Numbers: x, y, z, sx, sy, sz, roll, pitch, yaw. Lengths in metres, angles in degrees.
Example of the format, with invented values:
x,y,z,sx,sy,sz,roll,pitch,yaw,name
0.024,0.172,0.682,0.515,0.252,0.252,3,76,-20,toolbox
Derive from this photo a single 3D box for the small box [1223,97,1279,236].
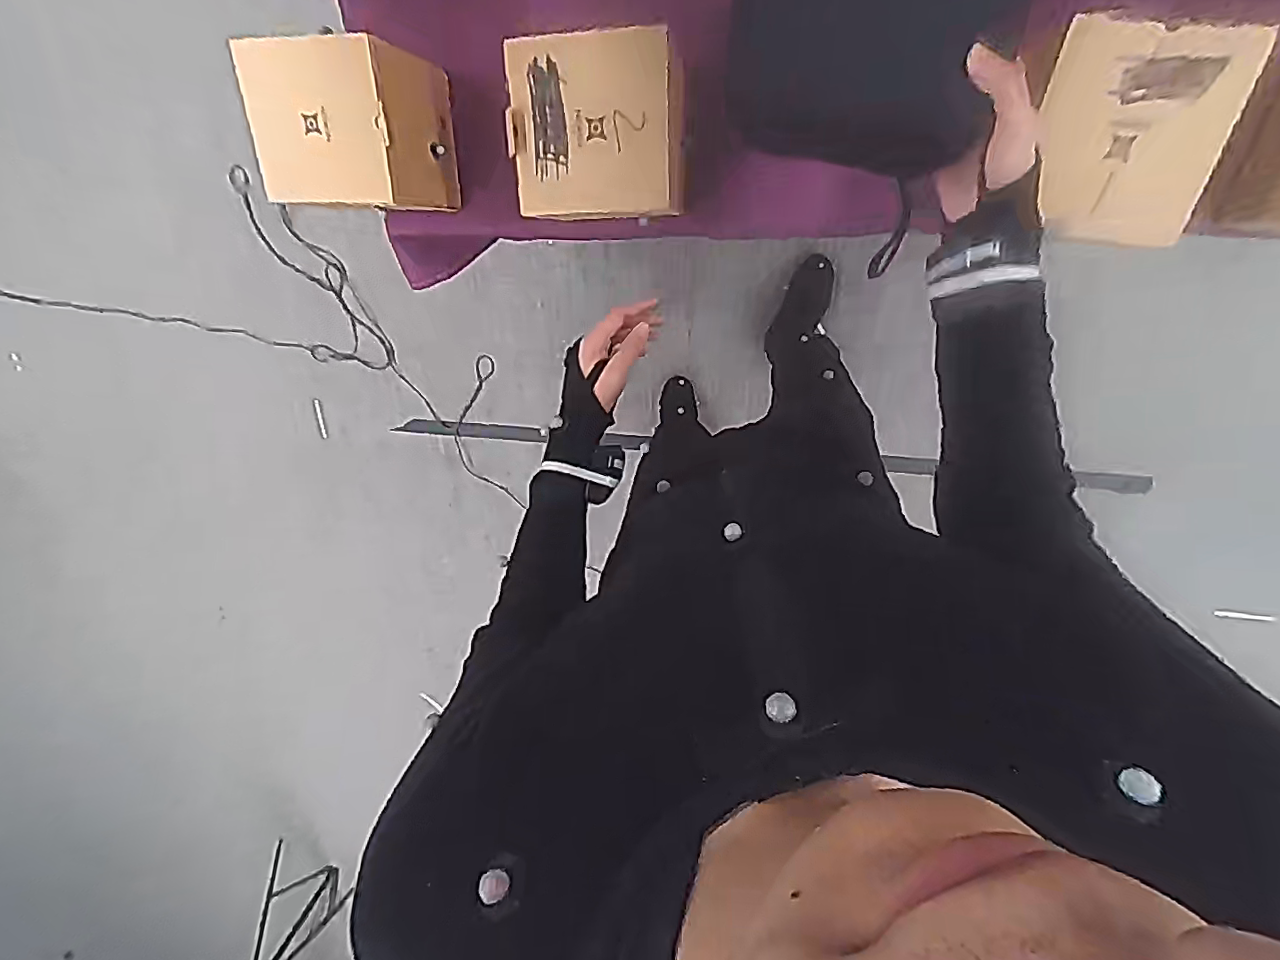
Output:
x,y,z,sx,sy,sz,roll,pitch,yaw,name
0.744,-0.328,0.517,0.168,0.176,0.179,11,115,8,small box

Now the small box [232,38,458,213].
x,y,z,sx,sy,sz,roll,pitch,yaw,name
-0.362,-0.440,0.698,0.179,0.176,0.168,4,115,8,small box
